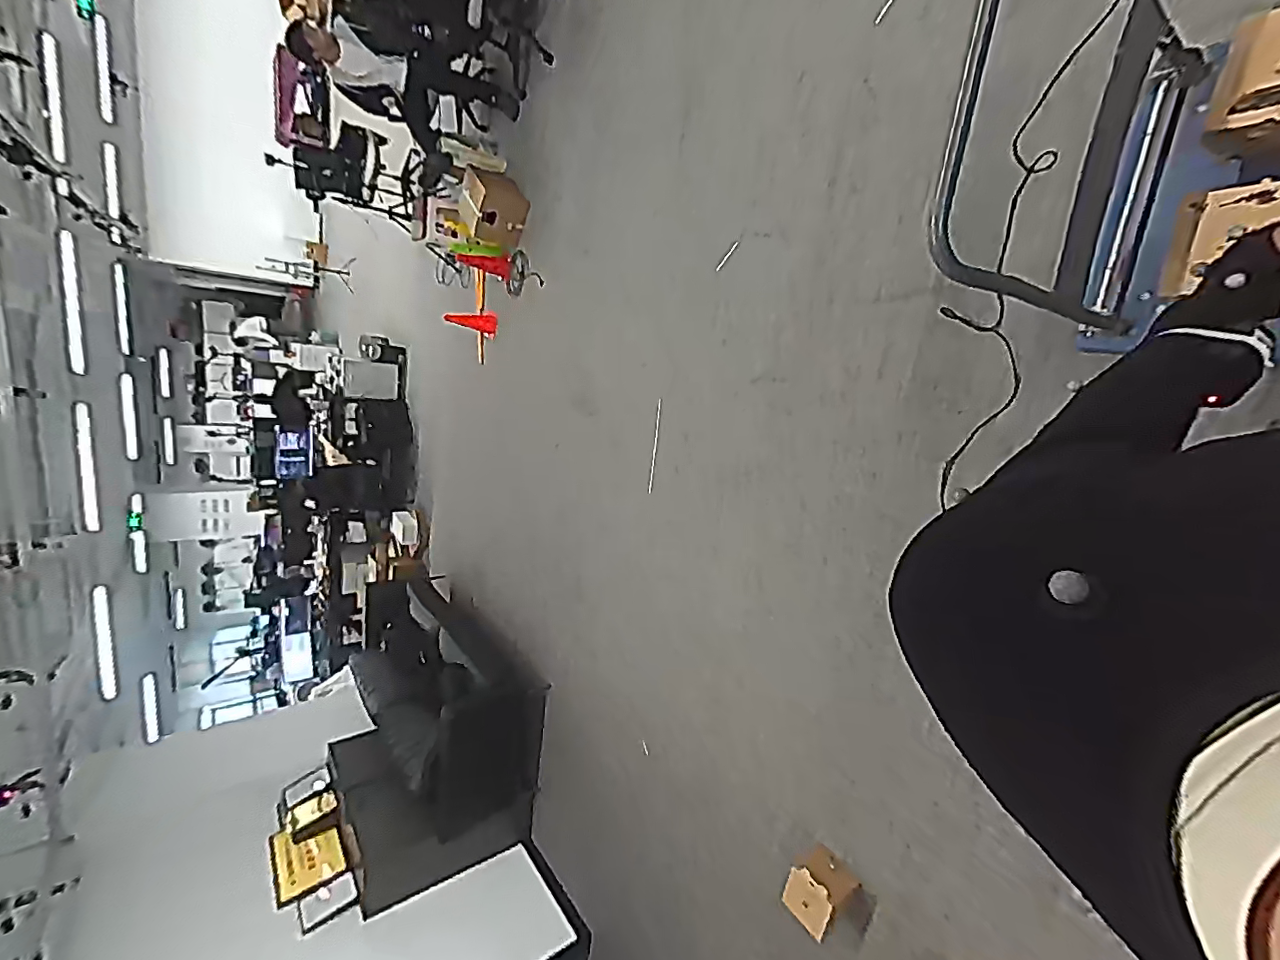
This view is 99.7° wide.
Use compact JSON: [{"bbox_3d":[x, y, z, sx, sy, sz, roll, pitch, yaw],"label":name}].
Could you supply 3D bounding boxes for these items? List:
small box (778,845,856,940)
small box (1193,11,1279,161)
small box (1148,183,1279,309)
[{"bbox_3d":[0.621,1.435,1.889,0.168,0.176,0.179,35,117,42],"label":"small box"},{"bbox_3d":[1.085,-0.657,0.906,0.168,0.176,0.179,25,111,48],"label":"small box"},{"bbox_3d":[1.052,-0.402,0.961,0.168,0.176,0.179,19,107,50],"label":"small box"}]
